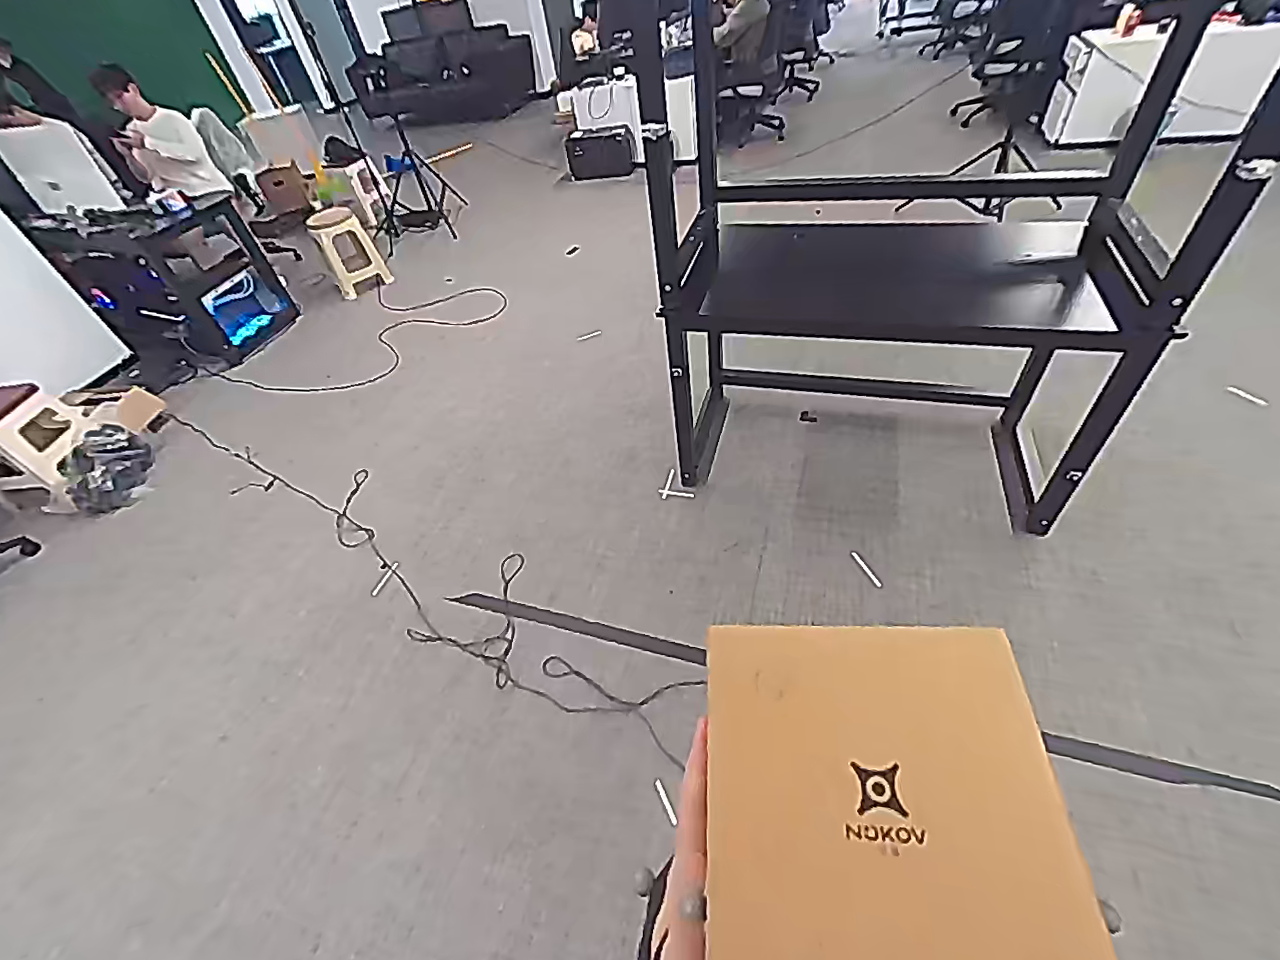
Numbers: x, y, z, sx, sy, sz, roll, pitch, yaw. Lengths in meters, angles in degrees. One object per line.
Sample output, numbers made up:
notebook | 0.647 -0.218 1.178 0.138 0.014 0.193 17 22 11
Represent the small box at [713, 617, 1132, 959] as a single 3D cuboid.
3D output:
small box | 0.127 0.196 0.320 0.168 0.176 0.179 -2 54 8
